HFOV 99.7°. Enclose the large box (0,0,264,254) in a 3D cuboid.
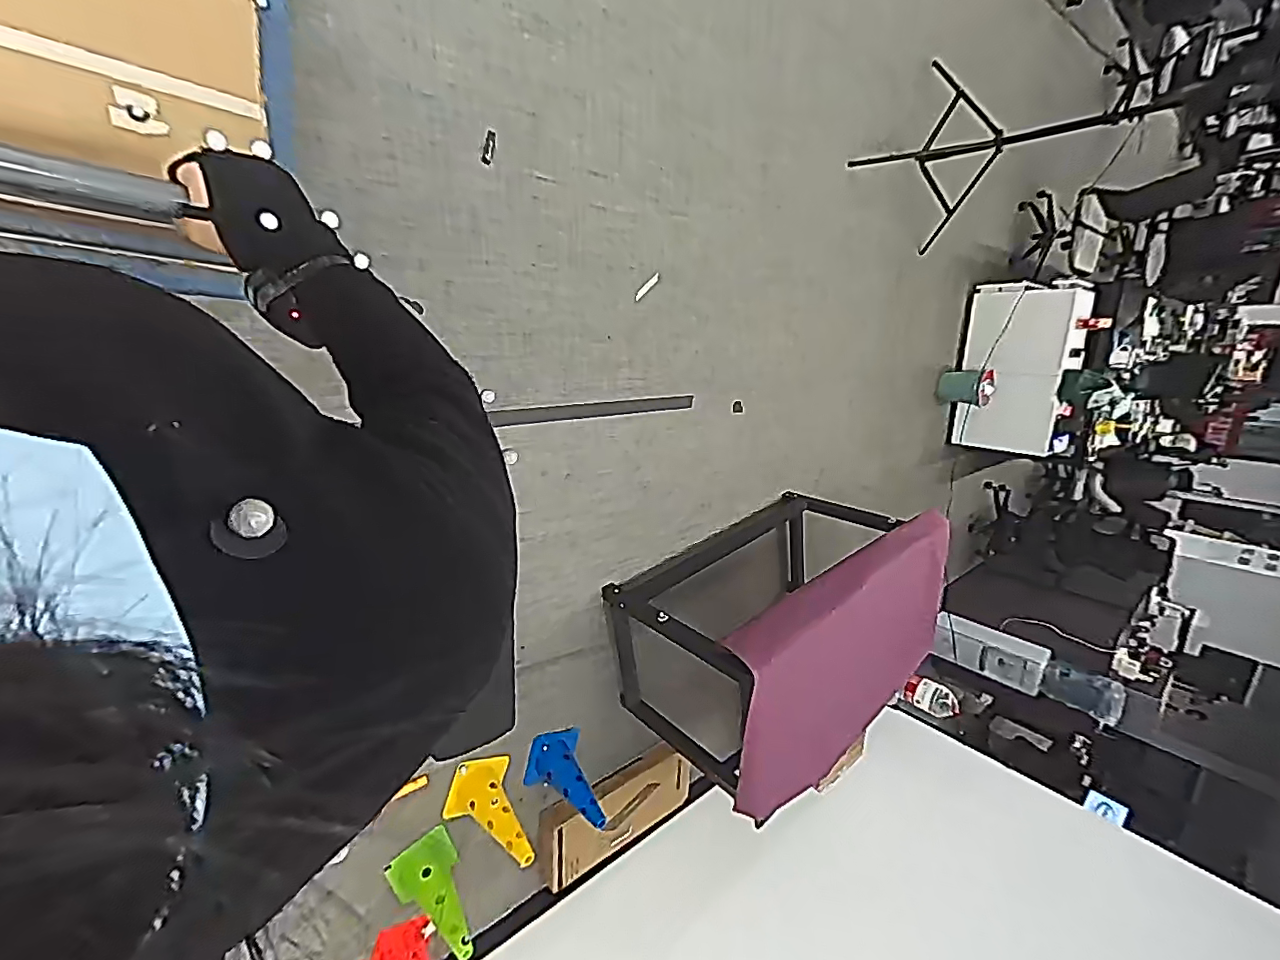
[{"bbox_3d":[-0.803,-0.535,0.764,0.408,0.320,0.320,-4,105,-41],"label":"large box"}]
